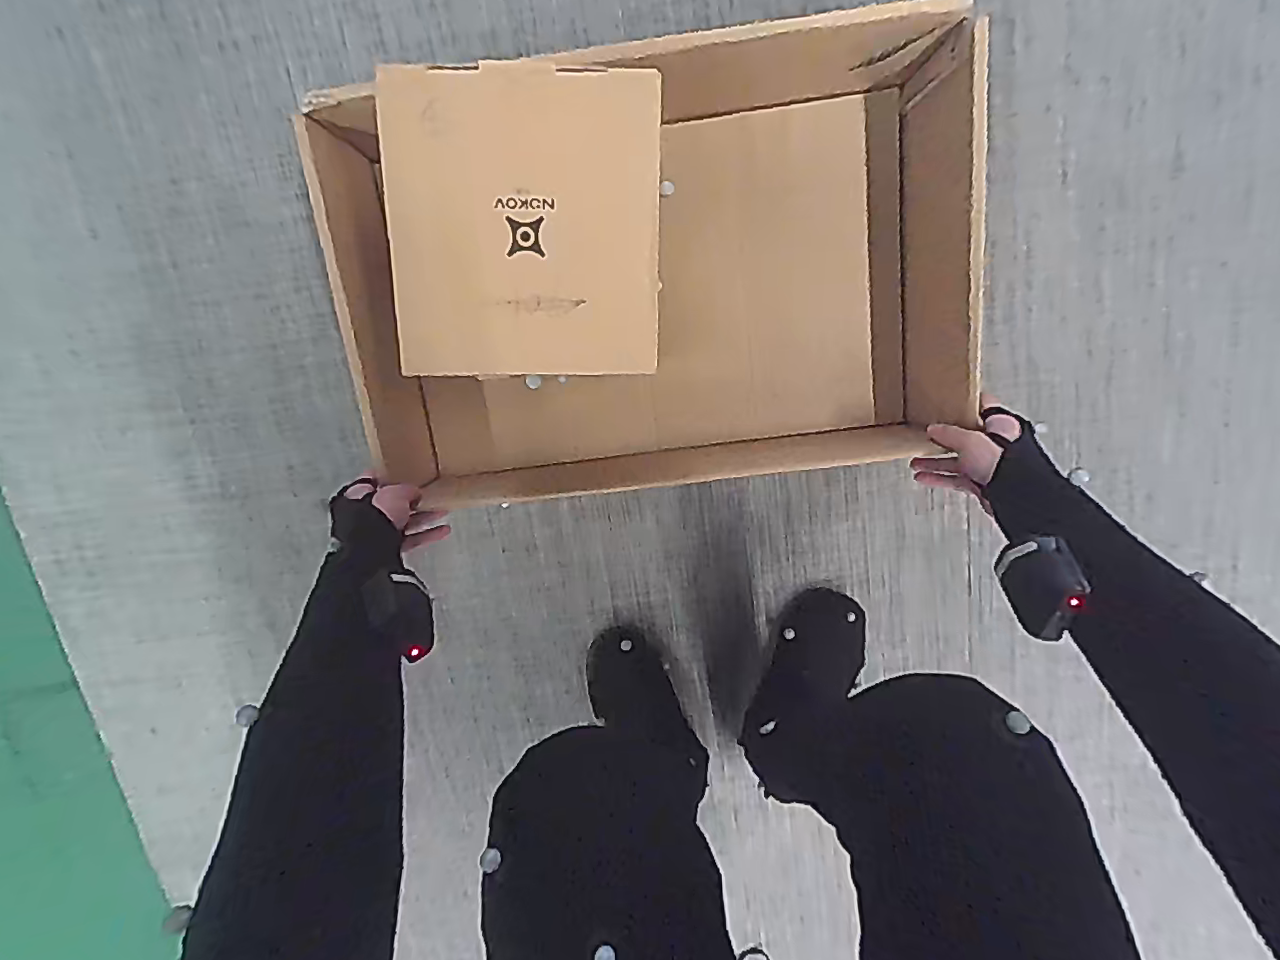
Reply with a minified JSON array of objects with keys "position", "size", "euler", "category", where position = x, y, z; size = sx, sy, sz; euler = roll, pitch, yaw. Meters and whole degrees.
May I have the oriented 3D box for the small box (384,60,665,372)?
[{"position":[-0.071,-0.173,0.409],"size":[0.168,0.176,0.179],"euler":[0,103,-2],"category":"small box"}]
